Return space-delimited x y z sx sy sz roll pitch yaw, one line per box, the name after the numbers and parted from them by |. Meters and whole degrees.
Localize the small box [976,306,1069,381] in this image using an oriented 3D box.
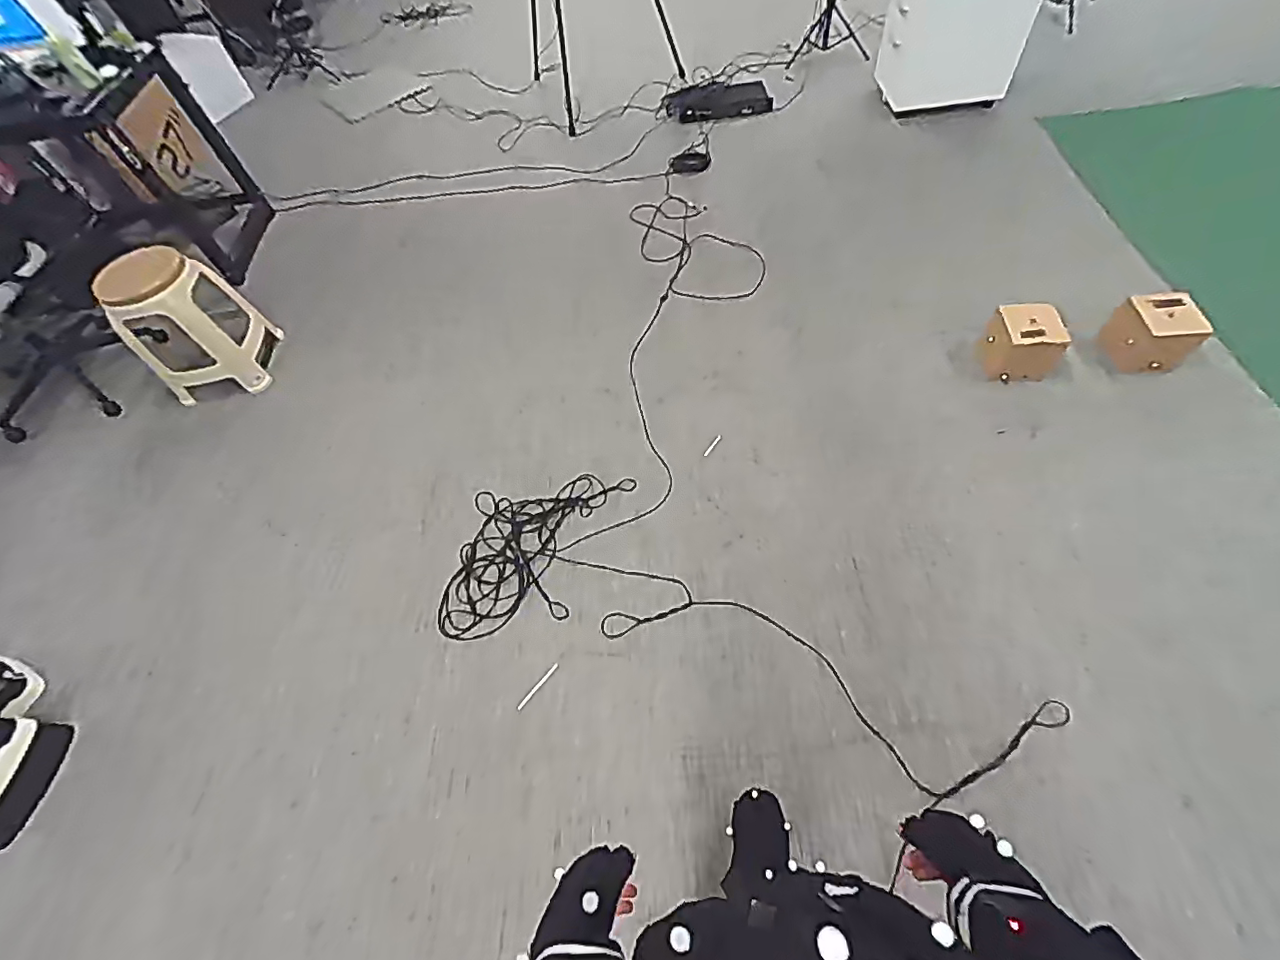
1.211 -0.430 1.725 0.168 0.176 0.179 0 57 7 | small box
